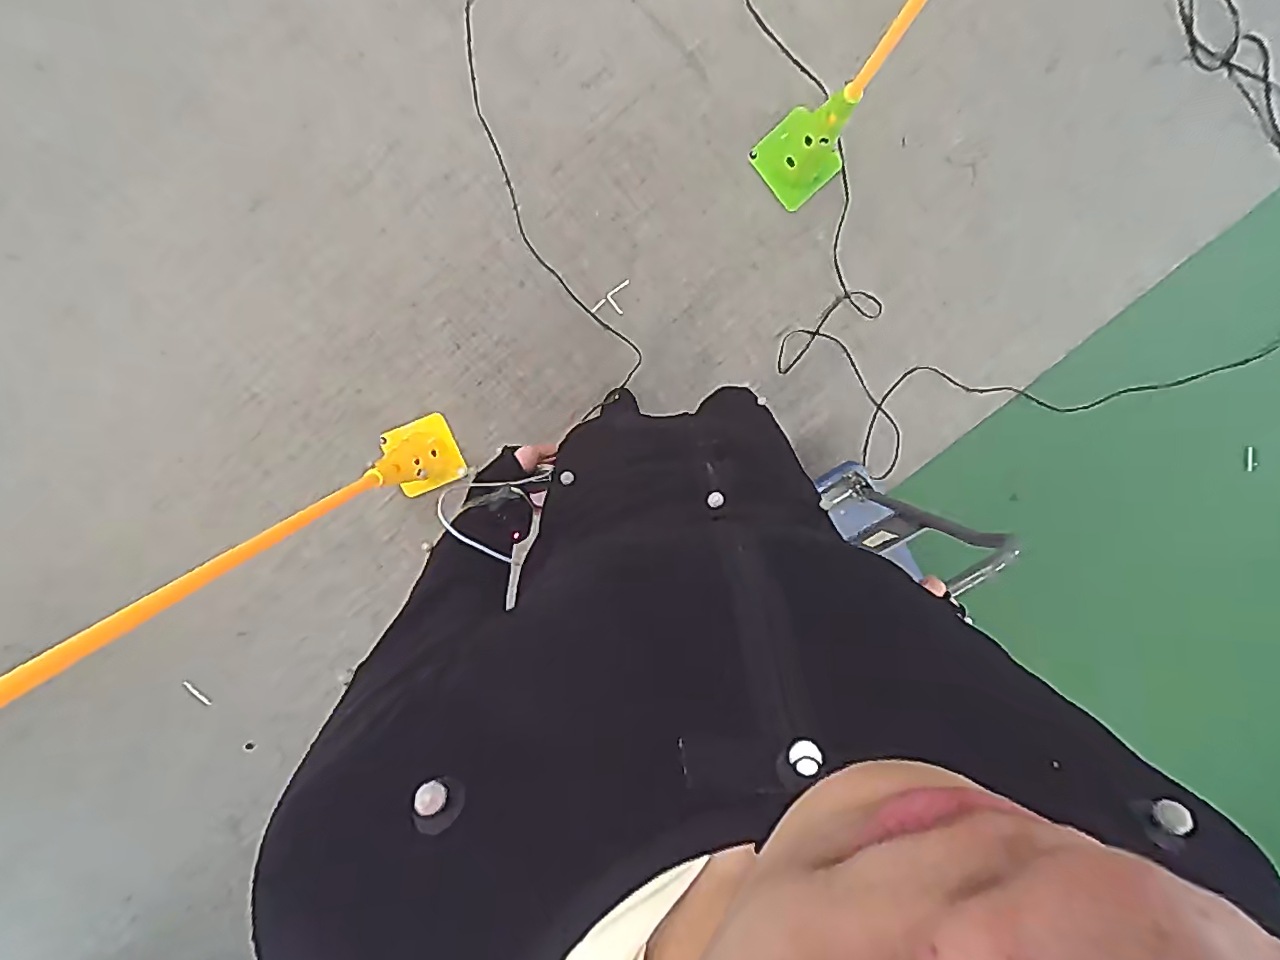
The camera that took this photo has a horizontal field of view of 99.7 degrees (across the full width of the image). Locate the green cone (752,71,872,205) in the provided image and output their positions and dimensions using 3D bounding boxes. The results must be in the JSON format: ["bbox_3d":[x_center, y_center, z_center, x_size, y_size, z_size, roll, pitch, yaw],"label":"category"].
[{"bbox_3d":[0.442,-0.847,1.286,0.202,0.368,0.200,-43,101,4],"label":"green cone"}]
